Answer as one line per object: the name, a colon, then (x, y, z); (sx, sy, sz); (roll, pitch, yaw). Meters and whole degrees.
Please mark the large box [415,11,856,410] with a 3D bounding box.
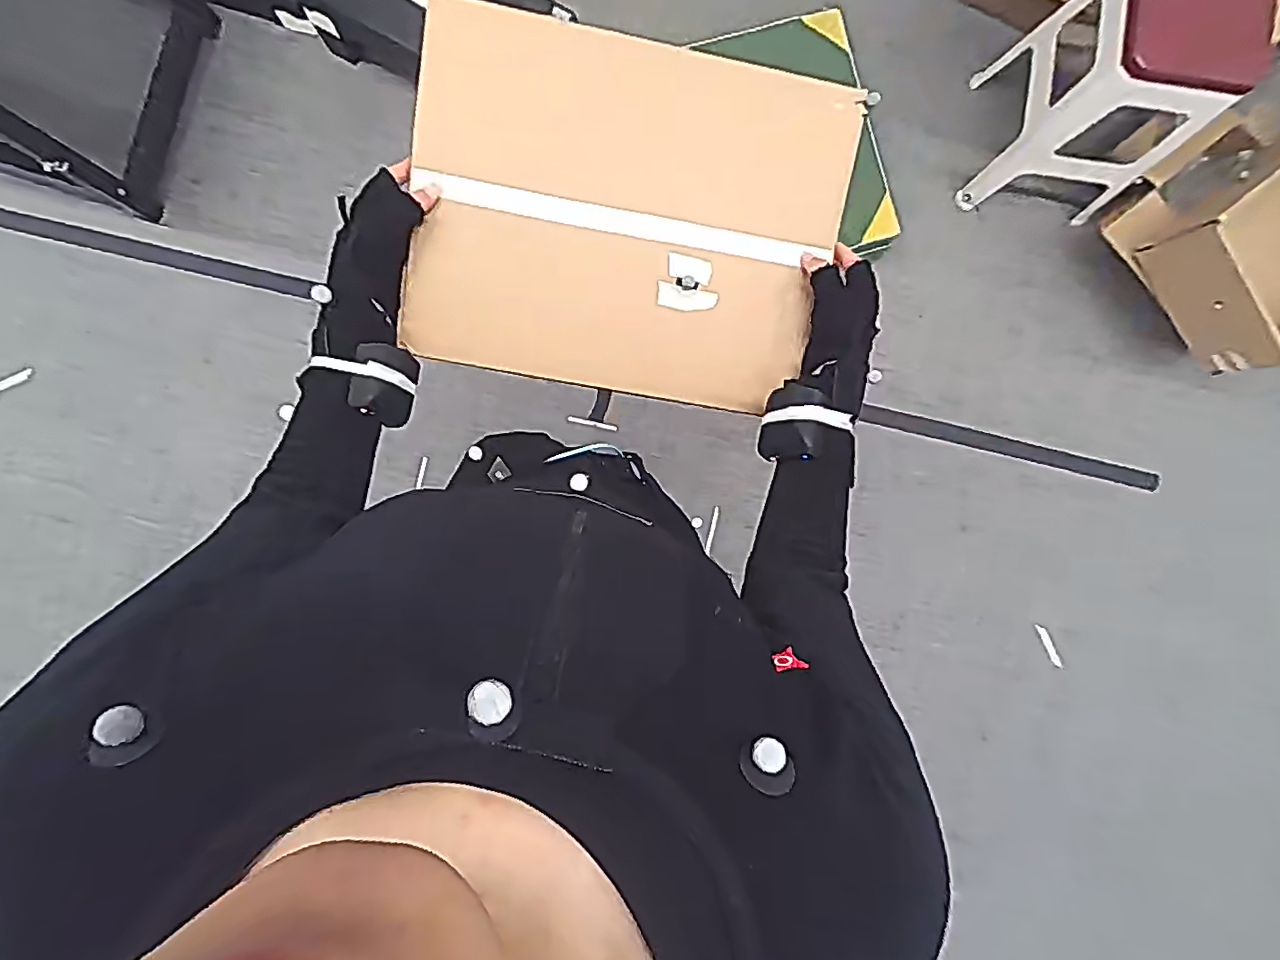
large box: (-0.019, -0.277, 0.676); (0.408, 0.320, 0.320); (9, 101, -5)
